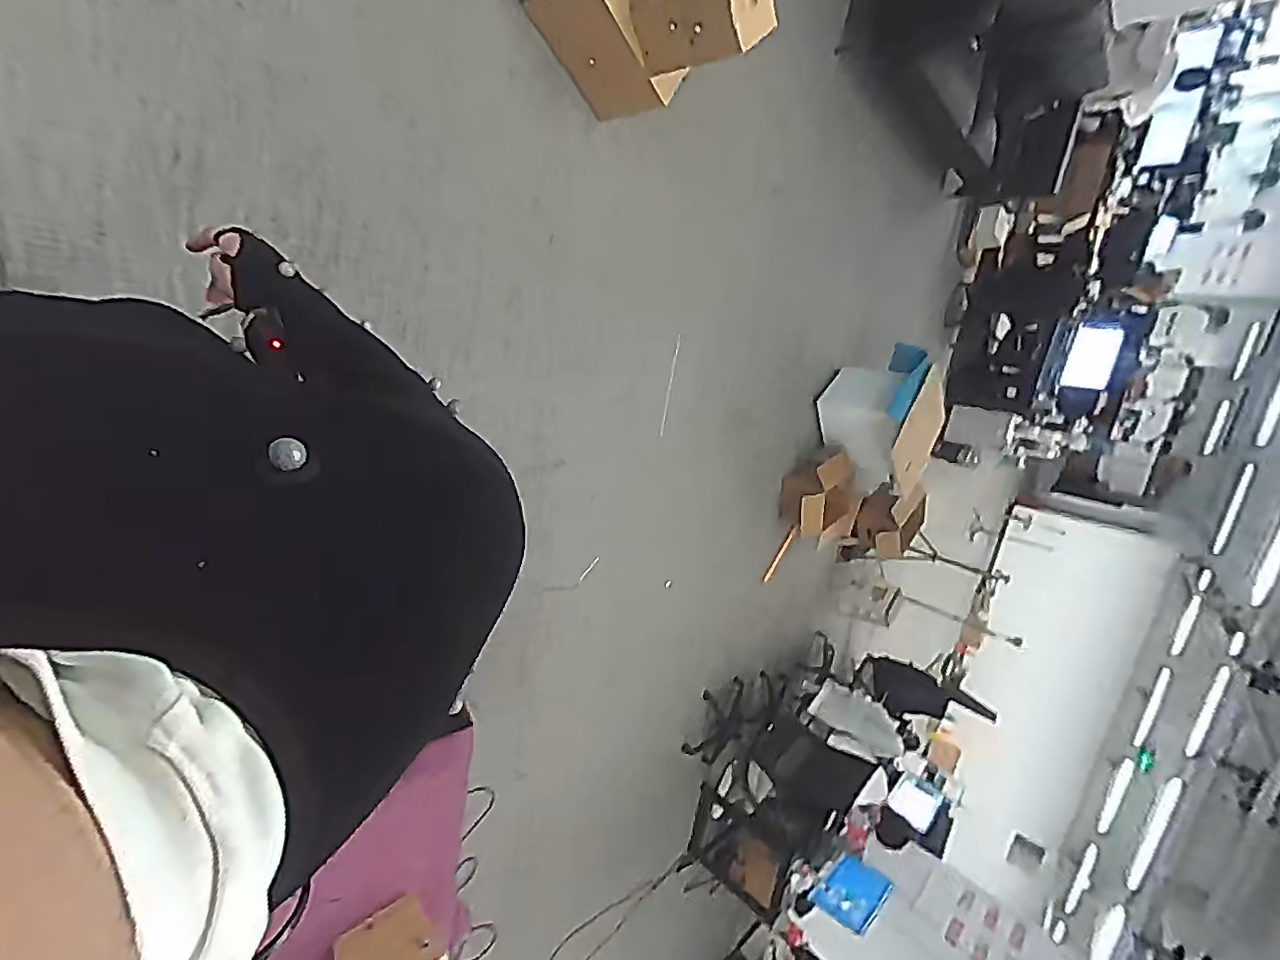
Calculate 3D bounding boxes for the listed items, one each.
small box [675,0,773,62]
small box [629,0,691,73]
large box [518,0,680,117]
[{"bbox_3d":[0.220,-1.239,1.415,0.179,0.176,0.168,-49,136,-20],"label":"small box"},{"bbox_3d":[0.101,-1.287,1.520,0.179,0.176,0.168,-50,136,-21],"label":"small box"},{"bbox_3d":[-0.082,-1.416,1.643,0.408,0.320,0.320,33,80,-48],"label":"large box"}]
